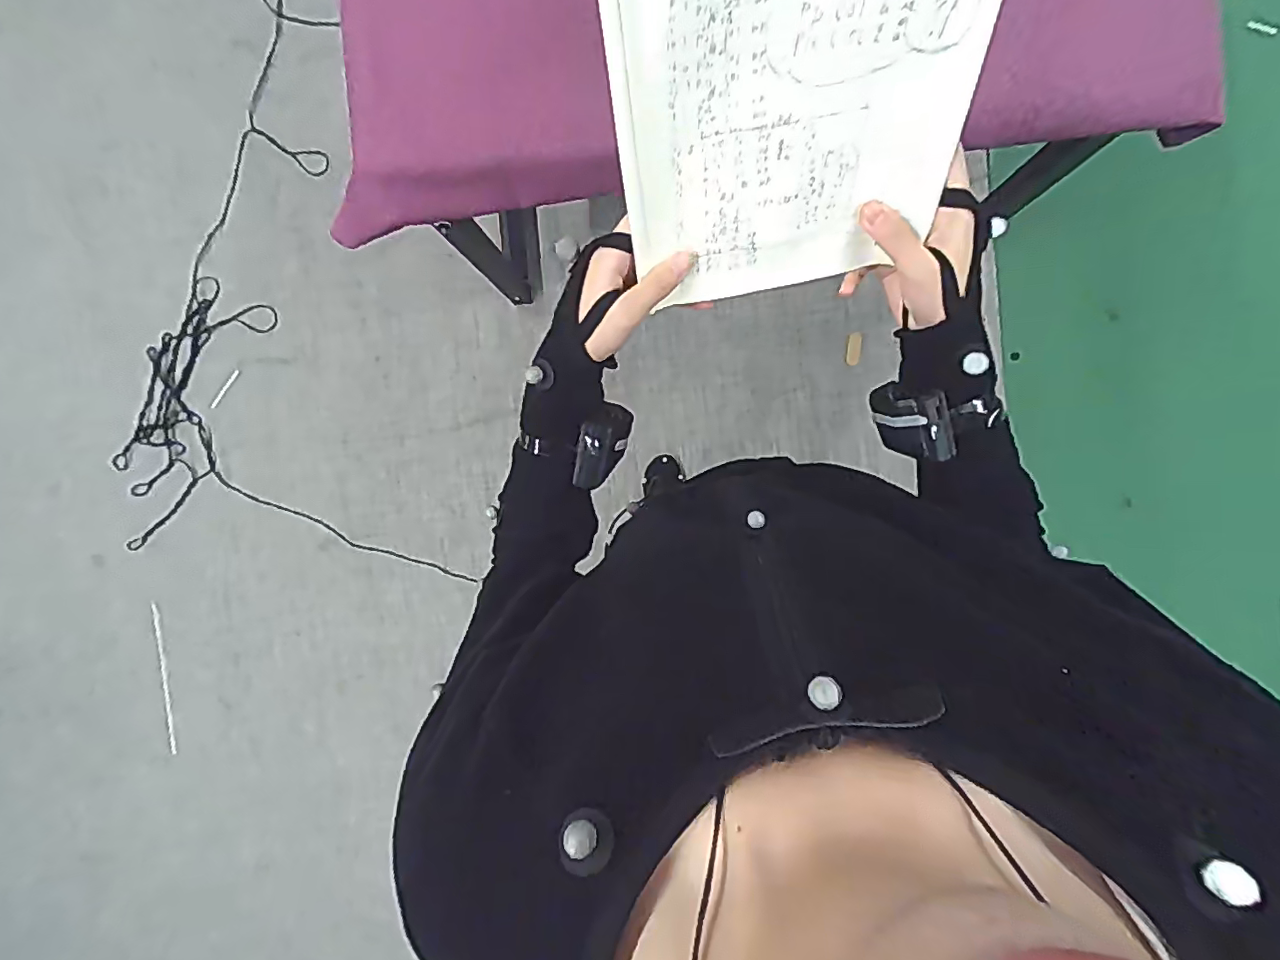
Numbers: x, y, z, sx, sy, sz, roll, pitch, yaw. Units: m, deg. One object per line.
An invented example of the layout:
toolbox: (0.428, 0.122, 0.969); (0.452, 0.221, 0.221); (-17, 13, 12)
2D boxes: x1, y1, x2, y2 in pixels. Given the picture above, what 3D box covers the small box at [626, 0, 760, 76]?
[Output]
small box: (0.066, -0.658, 0.693); (0.168, 0.176, 0.179); (-3, 92, 4)
